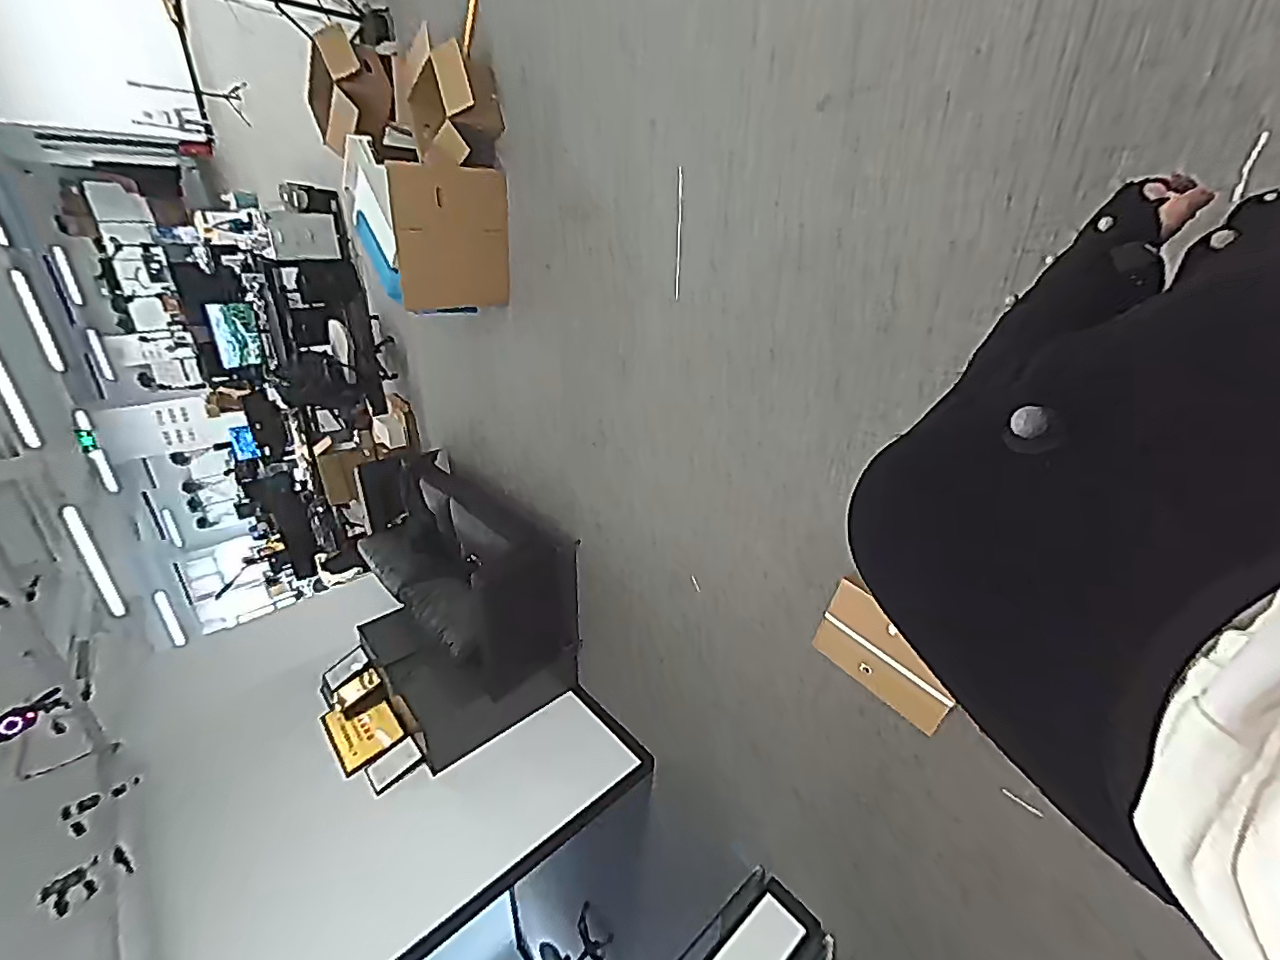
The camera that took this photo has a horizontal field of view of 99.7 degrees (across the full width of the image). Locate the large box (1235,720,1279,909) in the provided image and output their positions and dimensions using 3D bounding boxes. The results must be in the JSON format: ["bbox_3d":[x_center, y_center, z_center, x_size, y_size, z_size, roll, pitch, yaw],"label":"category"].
[{"bbox_3d":[1.468,0.692,1.019,0.408,0.320,0.320,-21,90,52],"label":"large box"}]
